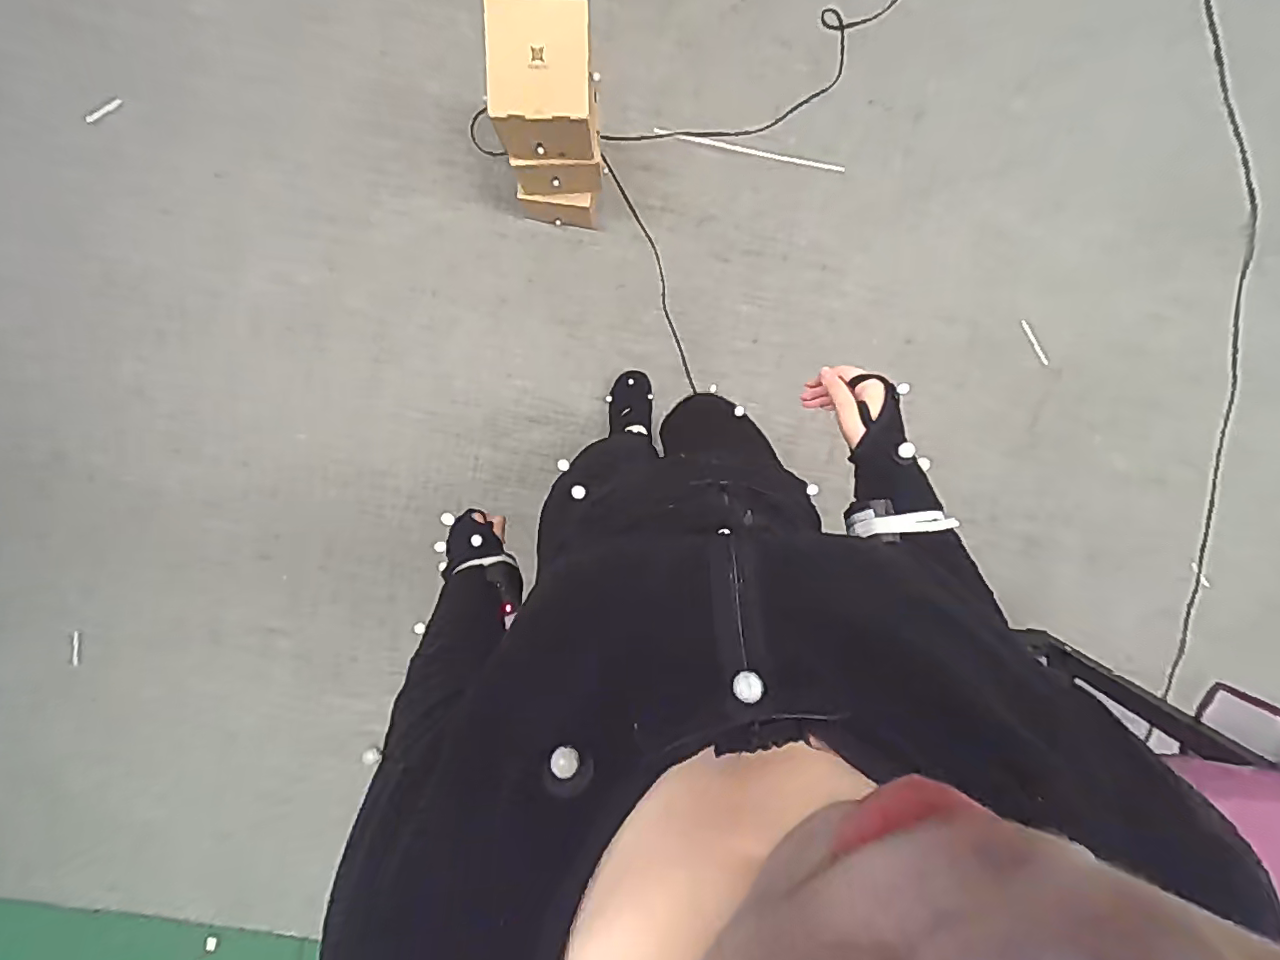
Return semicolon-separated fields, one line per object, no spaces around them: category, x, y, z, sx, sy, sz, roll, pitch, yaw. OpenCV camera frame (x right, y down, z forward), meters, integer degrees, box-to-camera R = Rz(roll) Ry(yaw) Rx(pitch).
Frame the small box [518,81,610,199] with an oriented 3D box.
small box;-0.155;-0.701;1.125;0.179;0.176;0.168;-3;100;1

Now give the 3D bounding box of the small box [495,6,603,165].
small box;-0.155;-0.689;0.962;0.168;0.176;0.179;0;100;0
